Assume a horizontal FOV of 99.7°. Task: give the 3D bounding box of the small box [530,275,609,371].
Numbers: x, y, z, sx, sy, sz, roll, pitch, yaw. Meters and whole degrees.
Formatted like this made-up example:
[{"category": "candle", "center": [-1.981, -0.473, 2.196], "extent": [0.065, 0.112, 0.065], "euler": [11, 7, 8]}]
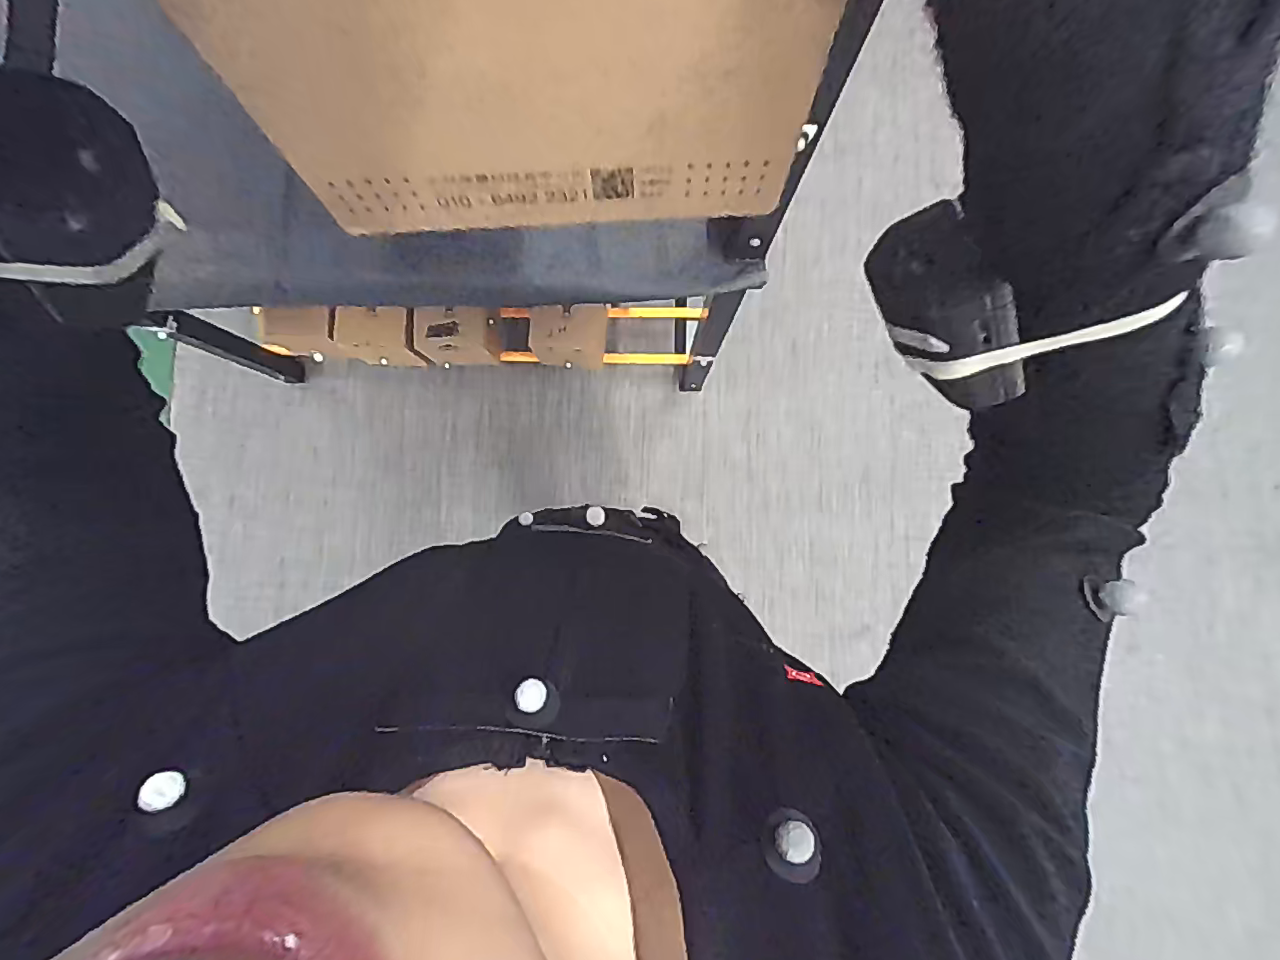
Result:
[{"category": "small box", "center": [-0.171, -0.389, 1.361], "extent": [0.168, 0.176, 0.179], "euler": [6, 87, 1]}]
